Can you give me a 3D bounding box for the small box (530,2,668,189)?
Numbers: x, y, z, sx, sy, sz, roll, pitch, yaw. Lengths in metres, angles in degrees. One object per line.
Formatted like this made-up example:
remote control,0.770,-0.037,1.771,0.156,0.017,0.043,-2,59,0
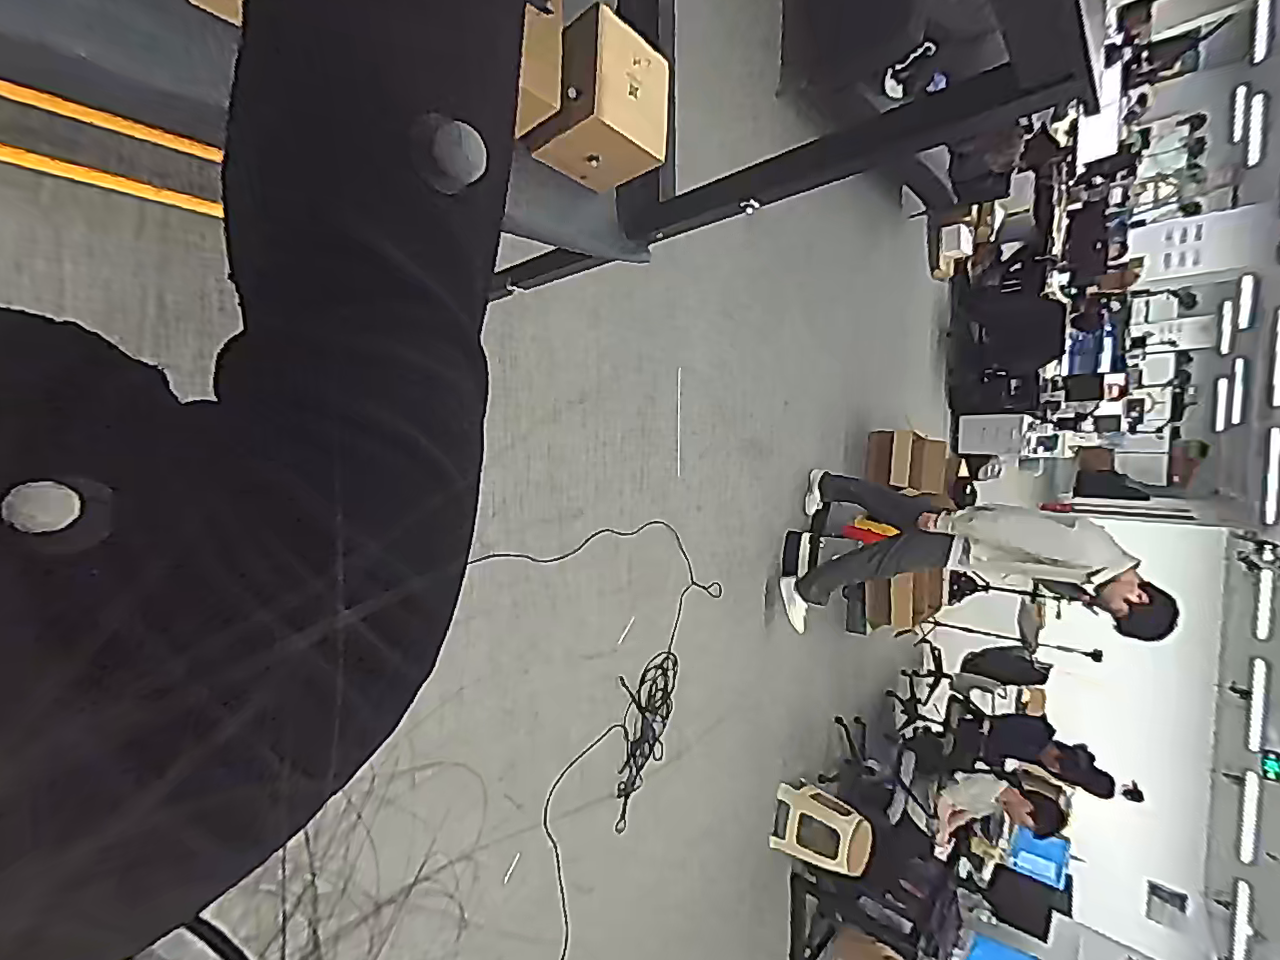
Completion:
small box,-0.073,-0.633,0.924,0.168,0.176,0.179,2,90,-47
